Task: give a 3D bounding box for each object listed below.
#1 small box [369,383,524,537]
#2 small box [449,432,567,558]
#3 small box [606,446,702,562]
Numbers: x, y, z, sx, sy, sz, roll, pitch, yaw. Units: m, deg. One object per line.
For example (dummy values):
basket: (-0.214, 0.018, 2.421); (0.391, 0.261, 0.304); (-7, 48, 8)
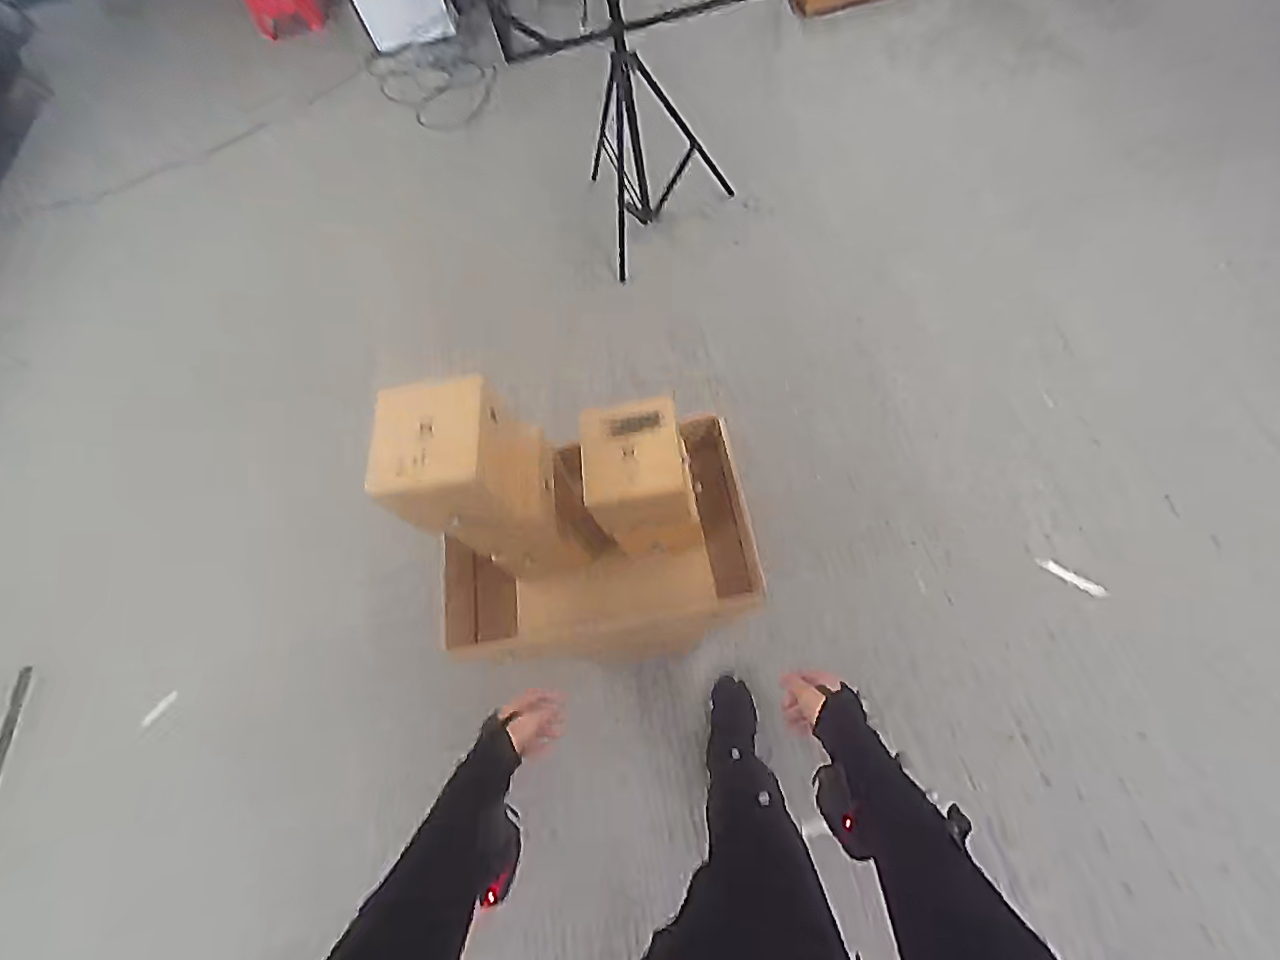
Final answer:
small box: (-0.288, -0.025, 0.846); (0.168, 0.176, 0.179); (-7, 65, 6)
small box: (-0.235, 0.036, 0.992); (0.168, 0.176, 0.179); (-8, 64, 5)
small box: (0.032, 0.055, 1.121); (0.168, 0.176, 0.179); (-11, 65, 6)
